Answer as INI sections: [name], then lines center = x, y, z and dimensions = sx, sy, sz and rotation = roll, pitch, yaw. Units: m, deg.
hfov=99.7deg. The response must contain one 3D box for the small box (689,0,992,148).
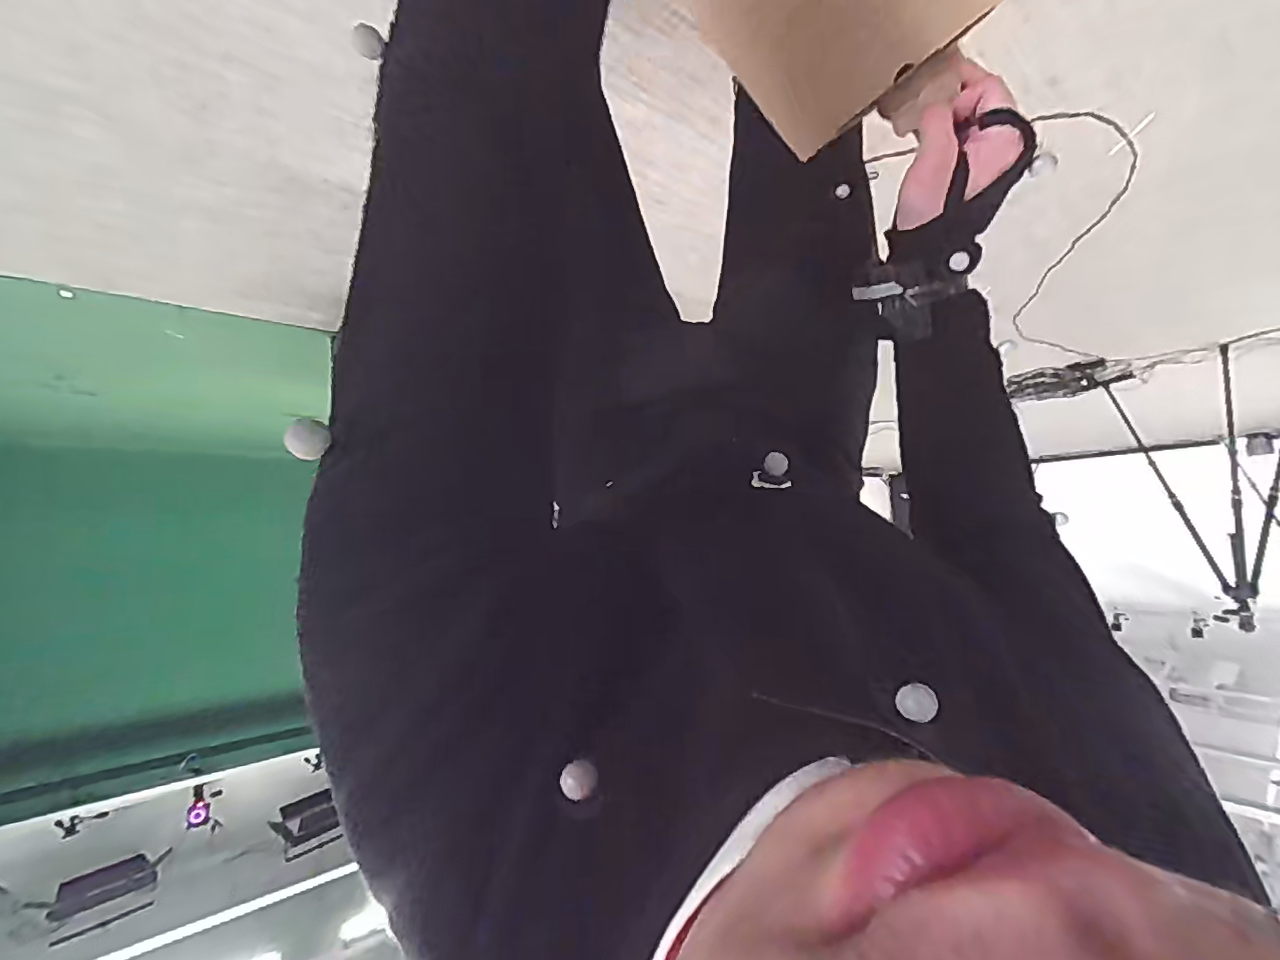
[small box]
center = 0.139, -0.383, 0.360
dimensions = 0.179, 0.176, 0.168
rotation = 36, 145, -25
